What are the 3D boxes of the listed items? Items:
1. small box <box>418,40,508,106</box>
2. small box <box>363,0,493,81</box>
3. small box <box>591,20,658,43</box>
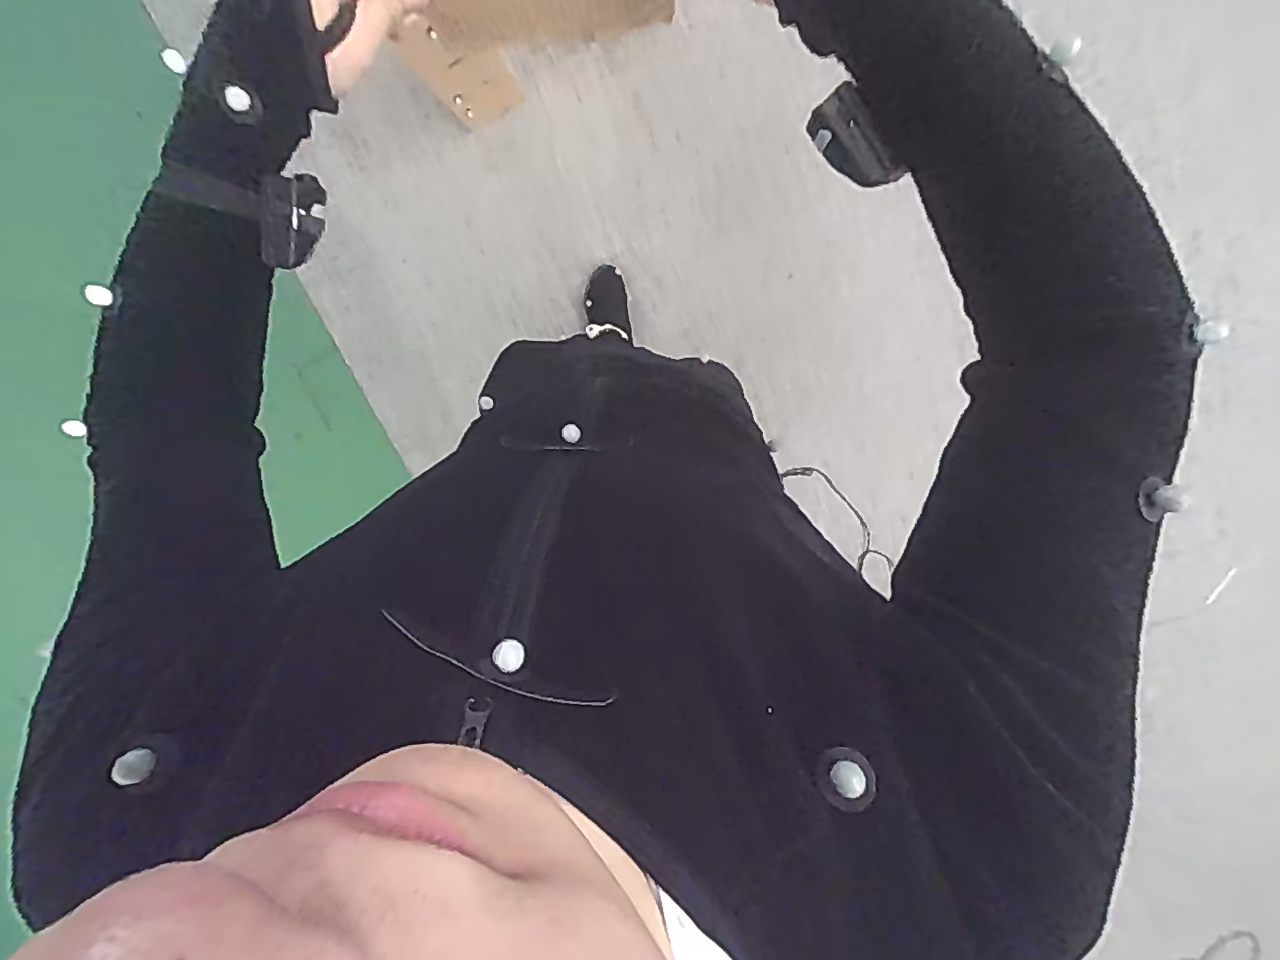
[{"bbox_3d":[-0.395,-0.915,1.117,0.168,0.176,0.179,-24,103,7],"label":"small box"},{"bbox_3d":[-0.385,-0.861,0.961,0.179,0.176,0.168,-24,105,6],"label":"small box"},{"bbox_3d":[-0.054,-1.134,1.223,0.168,0.176,0.179,-15,107,4],"label":"small box"}]
